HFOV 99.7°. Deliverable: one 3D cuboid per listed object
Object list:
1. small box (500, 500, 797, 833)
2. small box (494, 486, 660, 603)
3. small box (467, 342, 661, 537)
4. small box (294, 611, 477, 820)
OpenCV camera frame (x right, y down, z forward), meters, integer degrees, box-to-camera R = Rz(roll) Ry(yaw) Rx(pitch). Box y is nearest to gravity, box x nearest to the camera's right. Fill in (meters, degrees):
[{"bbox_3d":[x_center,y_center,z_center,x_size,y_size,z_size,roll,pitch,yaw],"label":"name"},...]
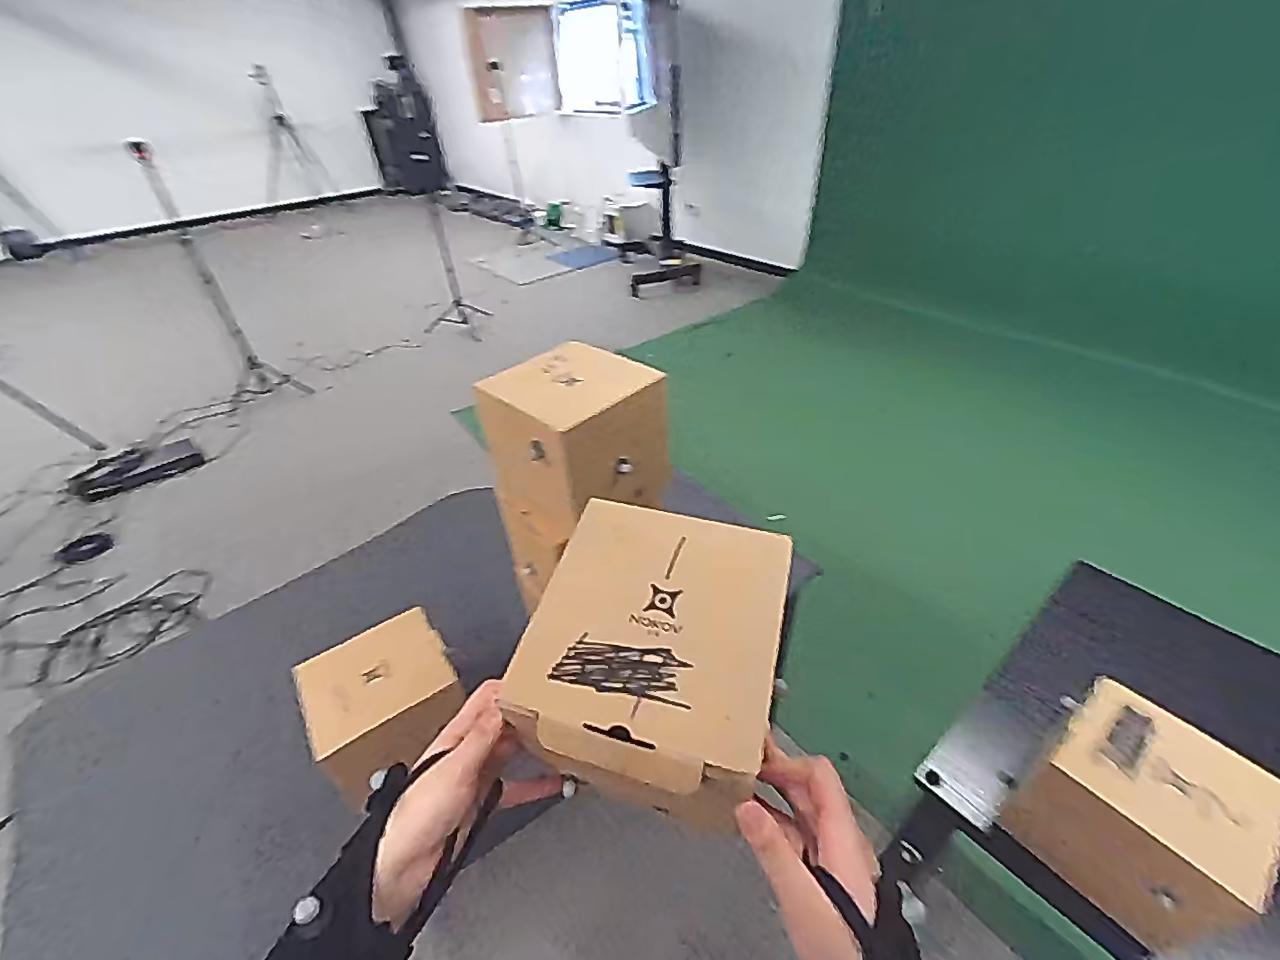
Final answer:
[{"bbox_3d":[0.021,0.145,0.424,0.168,0.176,0.179,10,49,15],"label":"small box"},{"bbox_3d":[-0.086,0.078,0.793,0.179,0.176,0.168,-29,43,-27],"label":"small box"},{"bbox_3d":[-0.086,-0.052,0.691,0.179,0.176,0.168,27,48,36],"label":"small box"},{"bbox_3d":[-0.349,0.329,0.766,0.179,0.176,0.168,-28,42,-26],"label":"small box"}]
